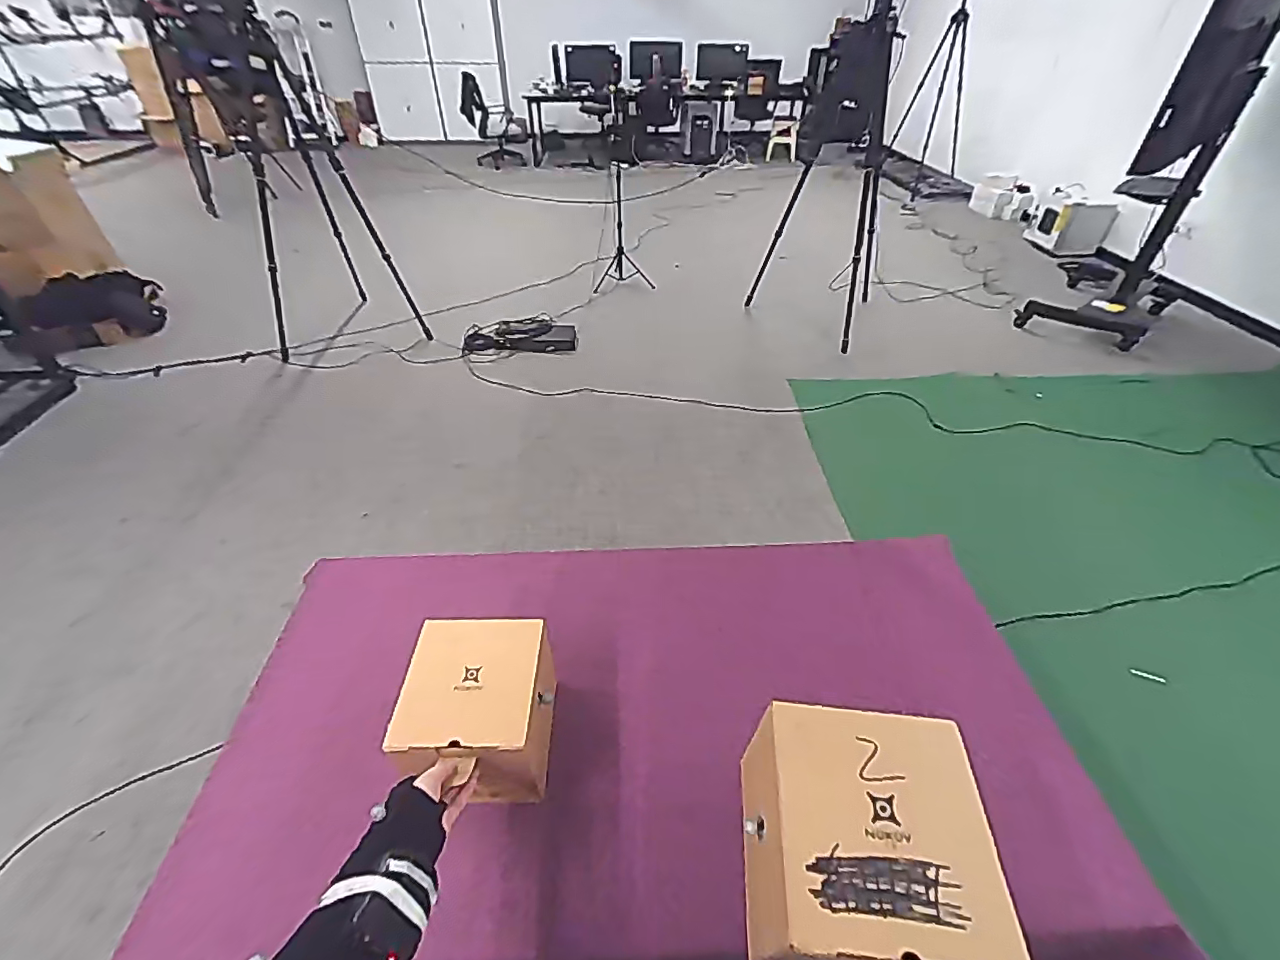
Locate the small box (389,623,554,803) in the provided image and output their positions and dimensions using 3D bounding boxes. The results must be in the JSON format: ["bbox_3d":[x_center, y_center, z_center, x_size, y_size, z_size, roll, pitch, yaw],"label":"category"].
[{"bbox_3d":[-0.215,0.319,0.747,0.168,0.176,0.179,0,41,0],"label":"small box"}]
